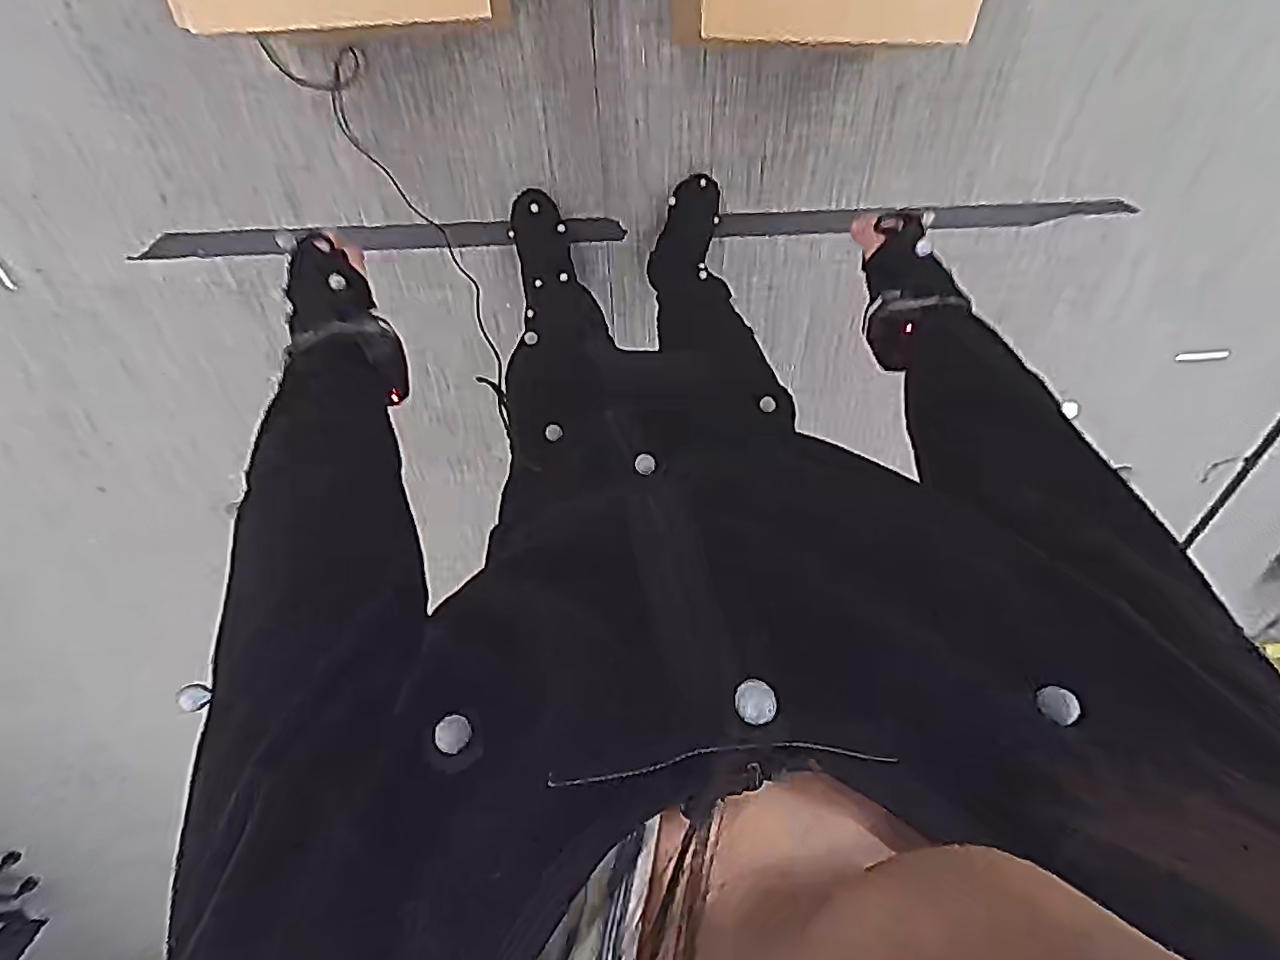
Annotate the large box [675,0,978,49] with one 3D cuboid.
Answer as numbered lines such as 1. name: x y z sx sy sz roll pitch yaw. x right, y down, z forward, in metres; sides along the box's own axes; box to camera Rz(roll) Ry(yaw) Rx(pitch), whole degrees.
1. large box: 0.274 -0.853 0.813 0.408 0.320 0.320 -3 127 -5
